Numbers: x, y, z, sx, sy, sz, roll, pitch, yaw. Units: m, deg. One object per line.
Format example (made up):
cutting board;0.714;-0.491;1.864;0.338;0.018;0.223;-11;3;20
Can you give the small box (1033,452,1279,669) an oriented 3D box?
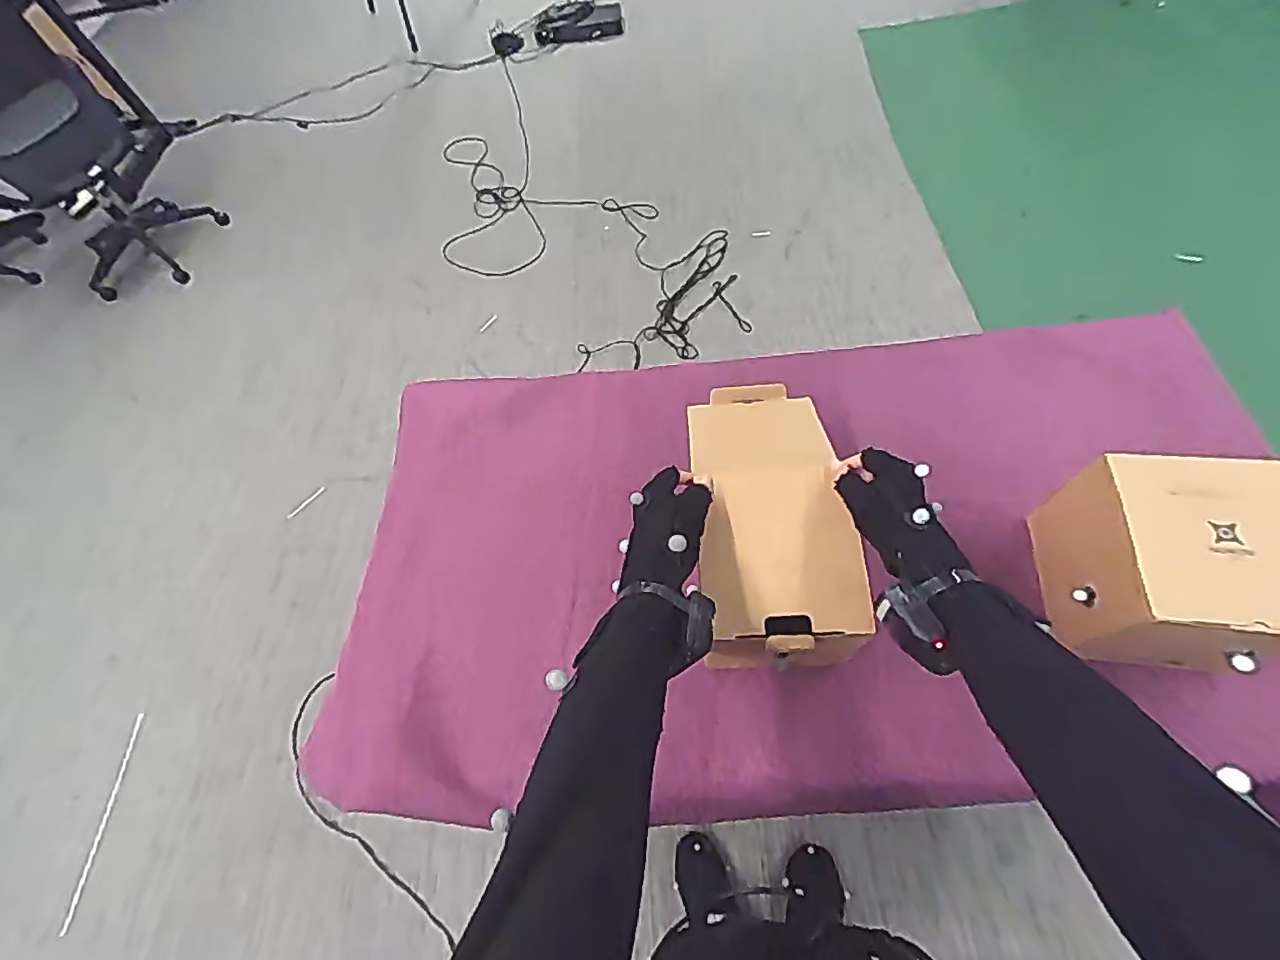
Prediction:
small box;0.554;0.090;0.569;0.168;0.176;0.179;4;62;11
